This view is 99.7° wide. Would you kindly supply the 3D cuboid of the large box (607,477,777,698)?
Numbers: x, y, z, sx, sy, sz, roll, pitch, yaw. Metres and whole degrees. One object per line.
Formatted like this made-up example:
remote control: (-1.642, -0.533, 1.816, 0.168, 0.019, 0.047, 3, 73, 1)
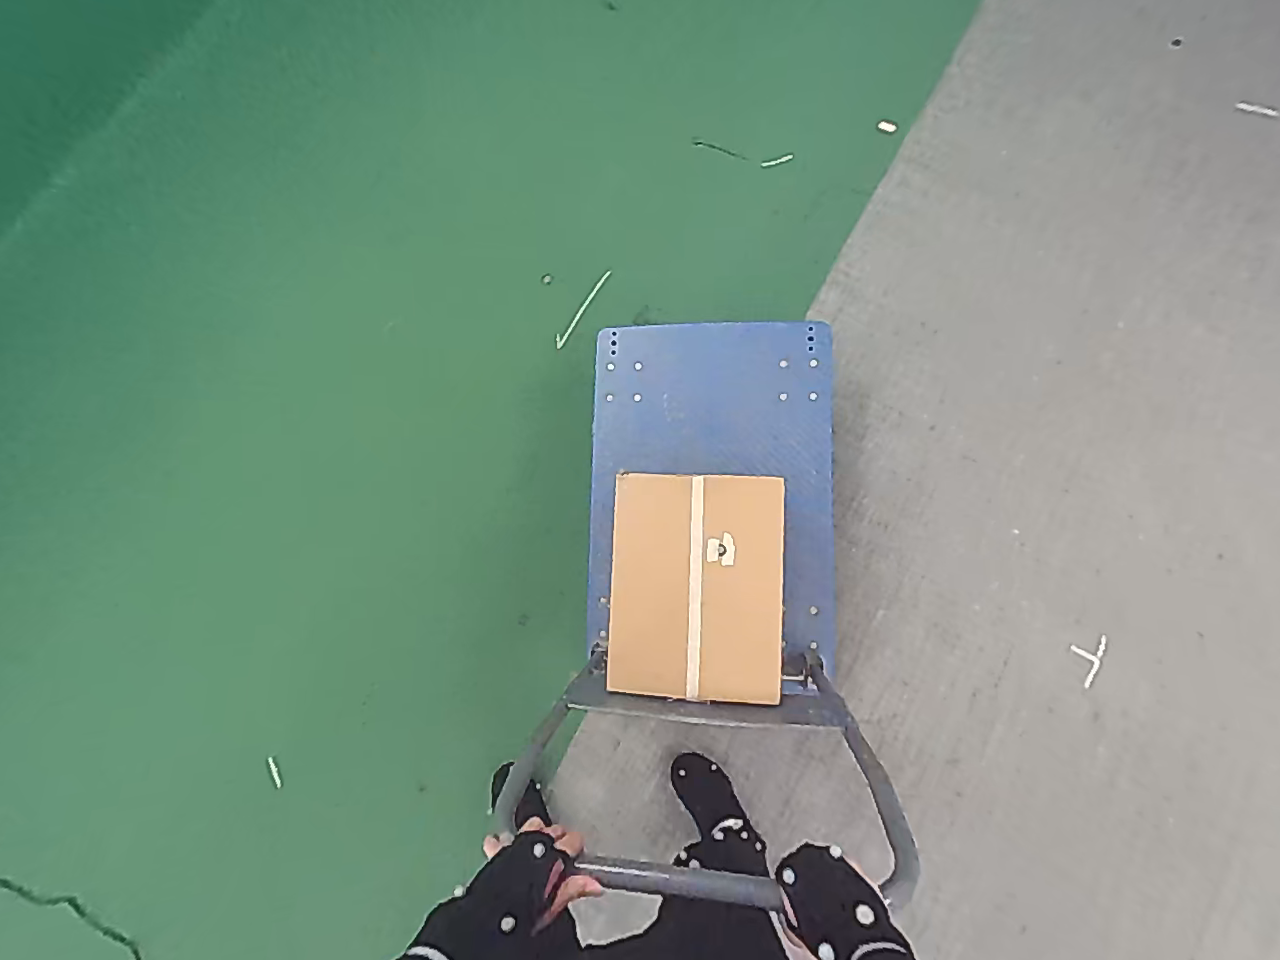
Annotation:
large box: (0.118, 0.211, 1.155, 0.320, 0.320, 0.408, 2, 84, 8)
